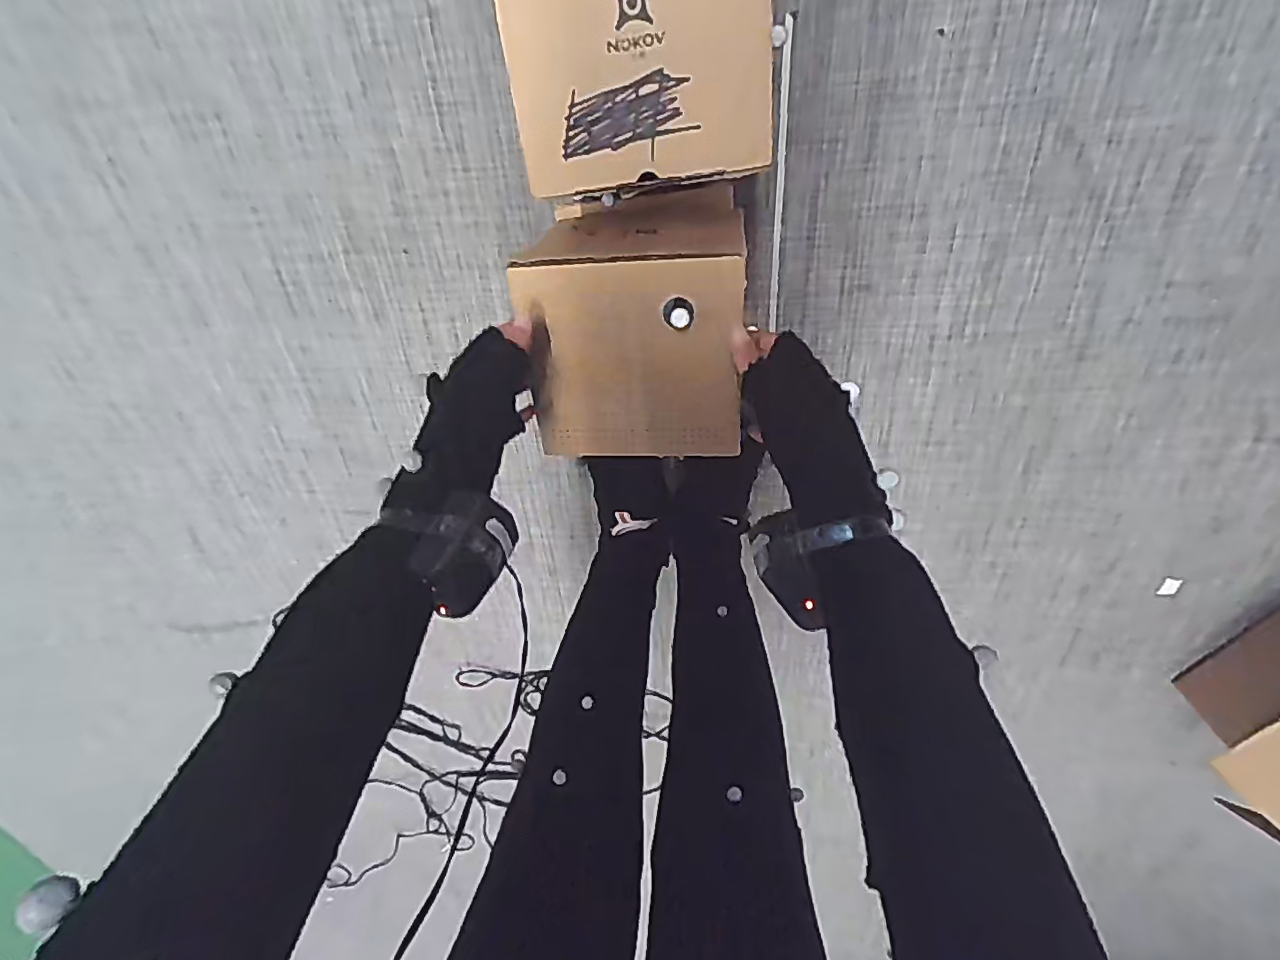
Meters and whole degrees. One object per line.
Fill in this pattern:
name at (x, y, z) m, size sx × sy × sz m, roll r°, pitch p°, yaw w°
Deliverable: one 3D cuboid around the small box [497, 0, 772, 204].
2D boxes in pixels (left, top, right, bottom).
small box at (0.006, -0.312, 0.395) m, size 0.168 × 0.176 × 0.179 m, roll -3°, pitch 118°, yaw 8°
